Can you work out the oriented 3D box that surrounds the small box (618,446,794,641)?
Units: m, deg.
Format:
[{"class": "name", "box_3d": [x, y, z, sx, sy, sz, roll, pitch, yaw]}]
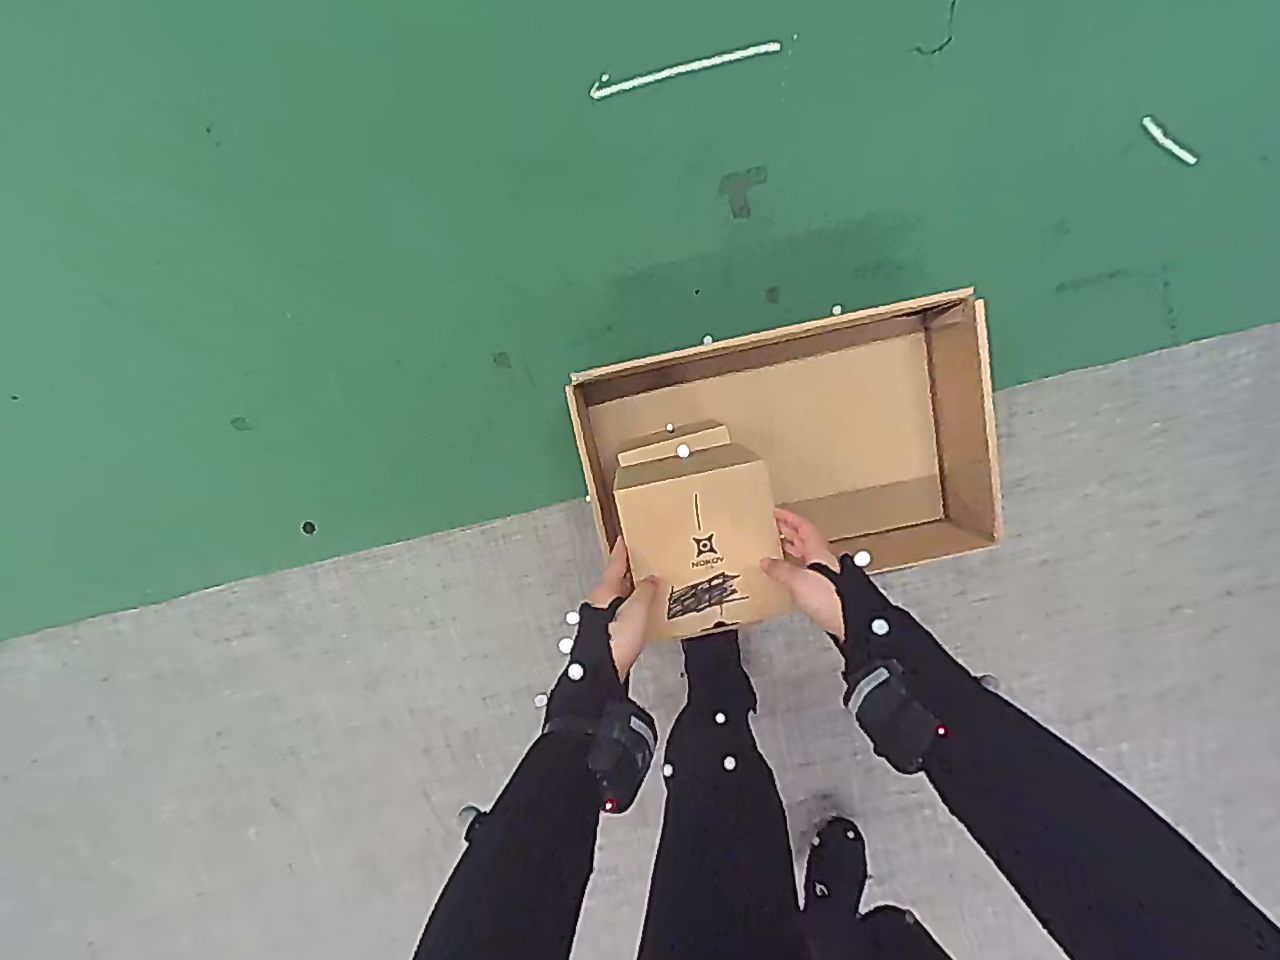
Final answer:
[{"class": "small box", "box_3d": [0.073, 0.065, 0.655, 0.168, 0.176, 0.179, -12, 99, 1]}]

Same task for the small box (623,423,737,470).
[{"class": "small box", "box_3d": [0.071, 0.011, 0.865, 0.168, 0.176, 0.179, -15, 100, 2]}]
